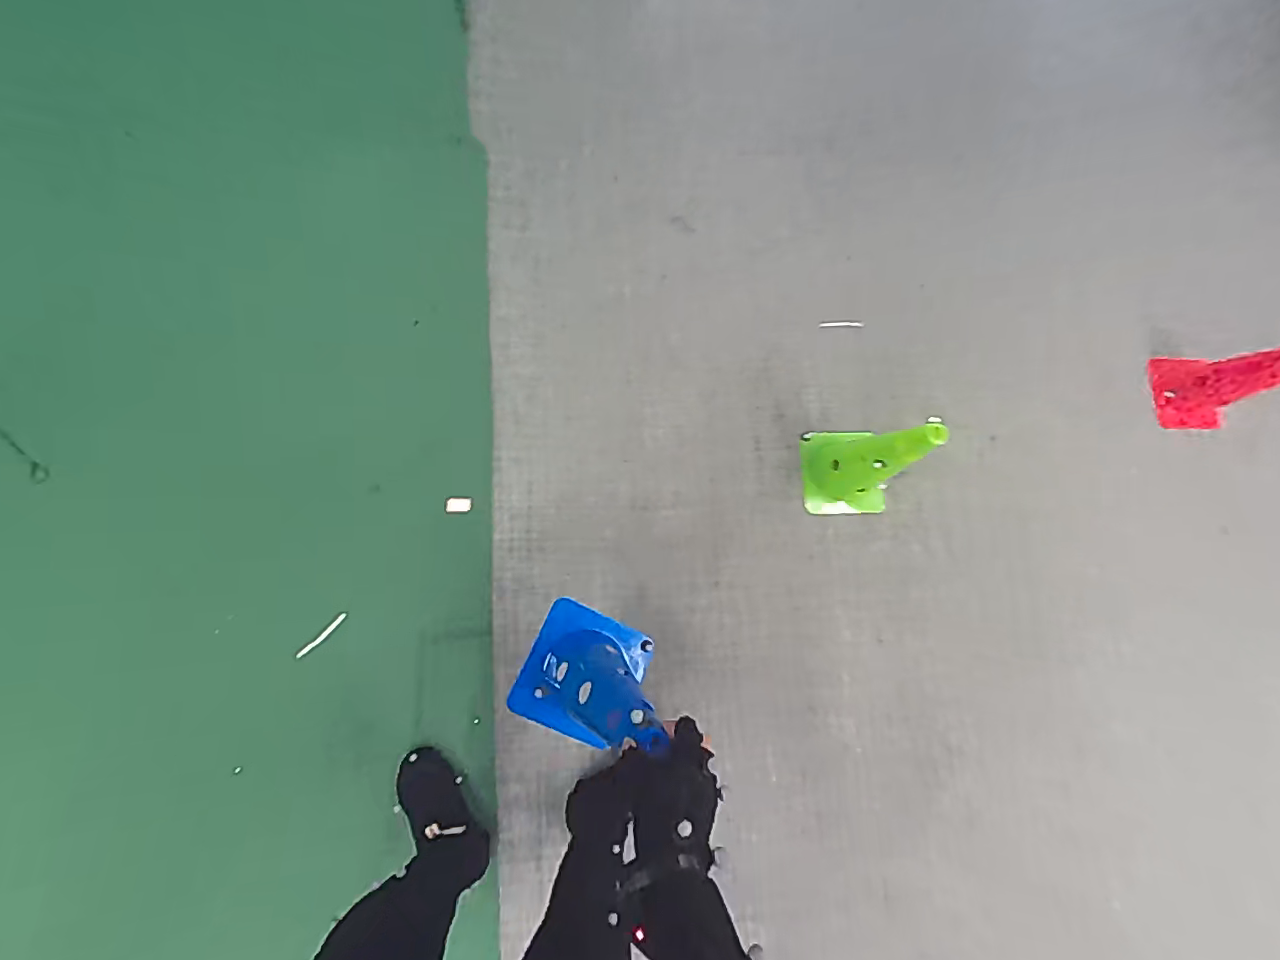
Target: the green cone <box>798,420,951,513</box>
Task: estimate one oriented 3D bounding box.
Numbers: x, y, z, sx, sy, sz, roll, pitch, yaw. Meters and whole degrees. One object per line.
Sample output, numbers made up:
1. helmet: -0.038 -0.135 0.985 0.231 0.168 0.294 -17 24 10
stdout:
1. green cone: 0.503 -0.052 1.126 0.202 0.368 0.200 -3 80 -8
